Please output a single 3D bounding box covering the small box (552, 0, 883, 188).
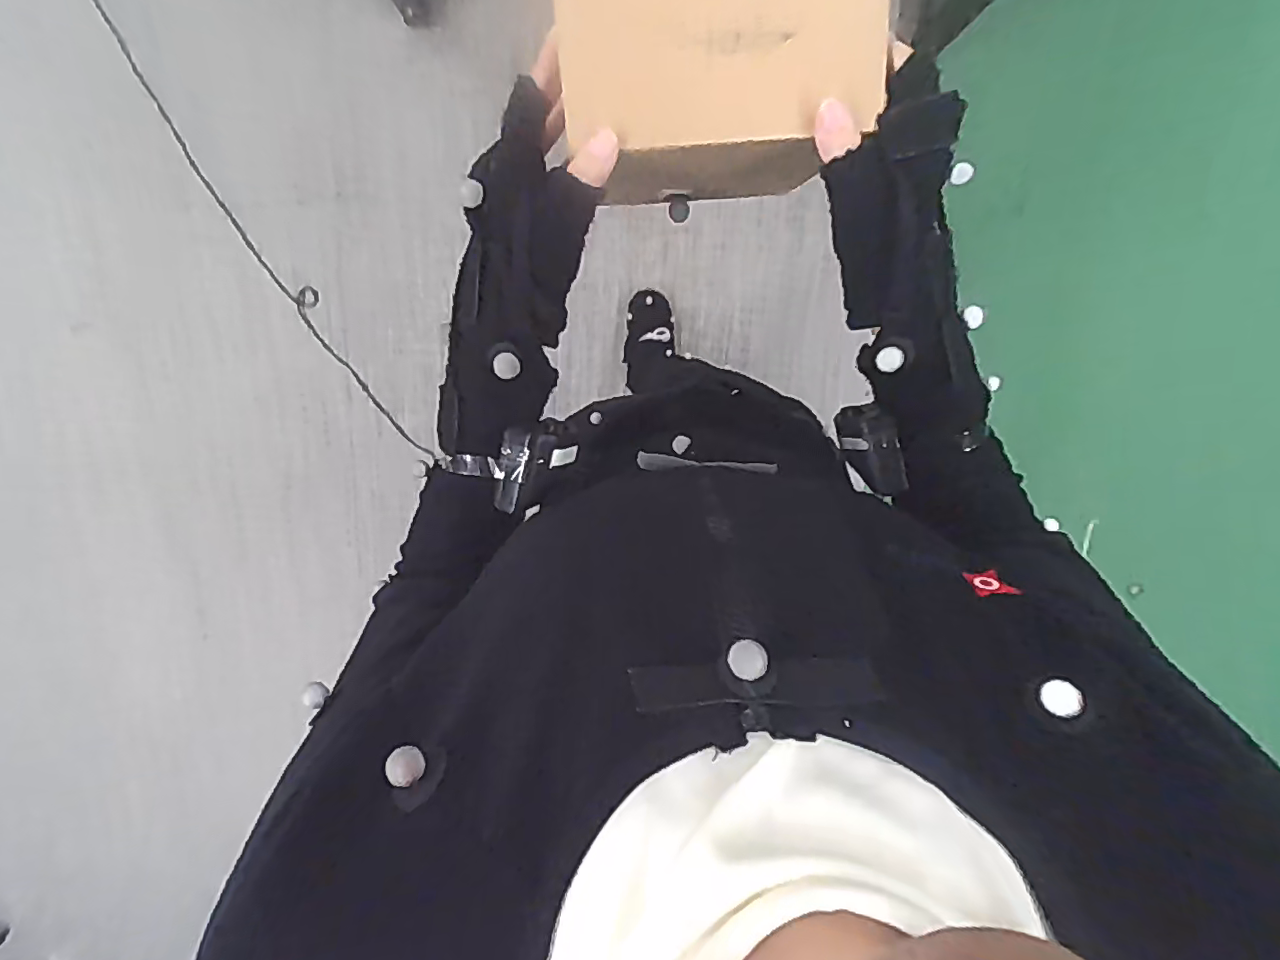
[{"bbox_3d":[0.033,-0.295,0.329,0.168,0.176,0.179,-4,109,-1],"label":"small box"}]
